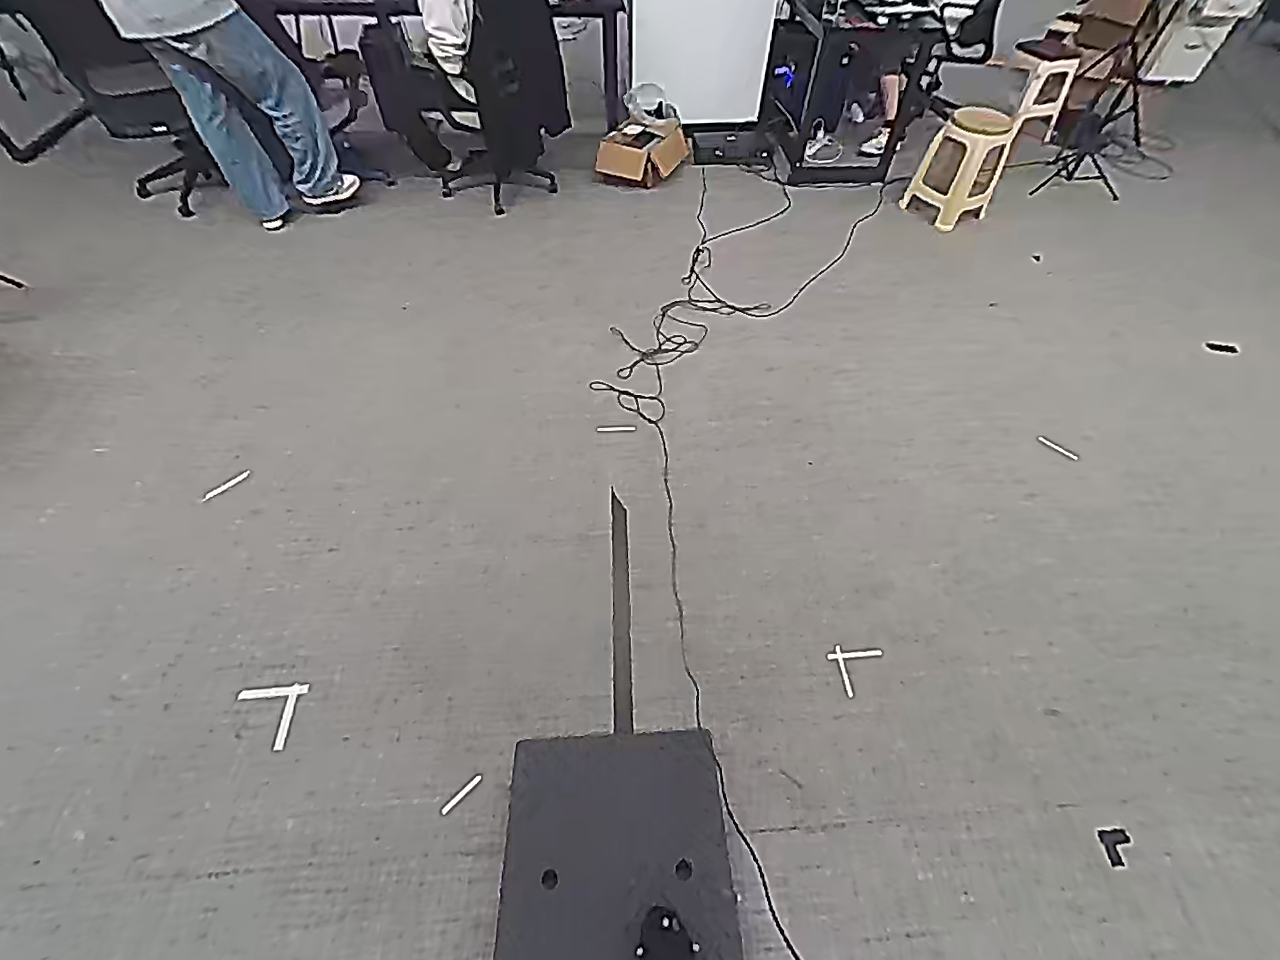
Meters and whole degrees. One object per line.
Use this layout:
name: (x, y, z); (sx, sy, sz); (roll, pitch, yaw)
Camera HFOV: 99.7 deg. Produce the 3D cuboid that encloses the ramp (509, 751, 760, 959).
ramp: (-0.005, 1.017, 0.965); (0.509, 0.206, 0.991); (-5, 51, -3)
